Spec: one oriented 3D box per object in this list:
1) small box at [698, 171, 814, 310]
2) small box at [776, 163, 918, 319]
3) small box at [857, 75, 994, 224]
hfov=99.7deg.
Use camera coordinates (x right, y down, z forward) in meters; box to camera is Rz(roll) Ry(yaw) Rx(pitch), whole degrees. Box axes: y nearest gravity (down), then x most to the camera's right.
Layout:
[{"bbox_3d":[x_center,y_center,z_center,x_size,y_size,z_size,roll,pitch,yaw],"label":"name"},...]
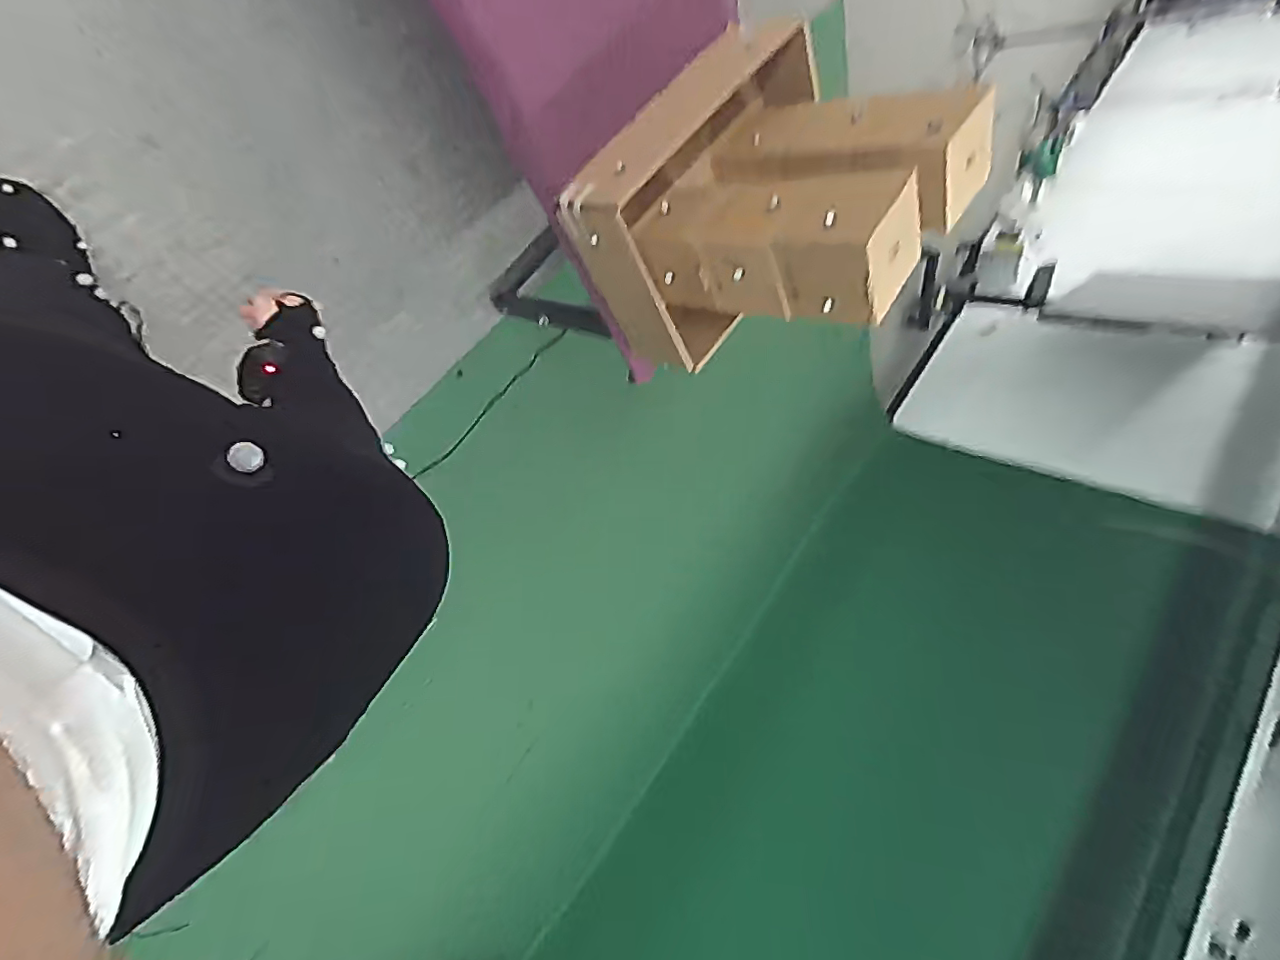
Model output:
[{"bbox_3d":[0.228,-0.447,1.020,0.179,0.176,0.168,-54,138,-16],"label":"small box"},{"bbox_3d":[0.346,-0.401,0.917,0.179,0.176,0.168,-54,140,-15],"label":"small box"},{"bbox_3d":[0.515,-0.597,0.991,0.179,0.176,0.168,-51,139,-14],"label":"small box"}]
